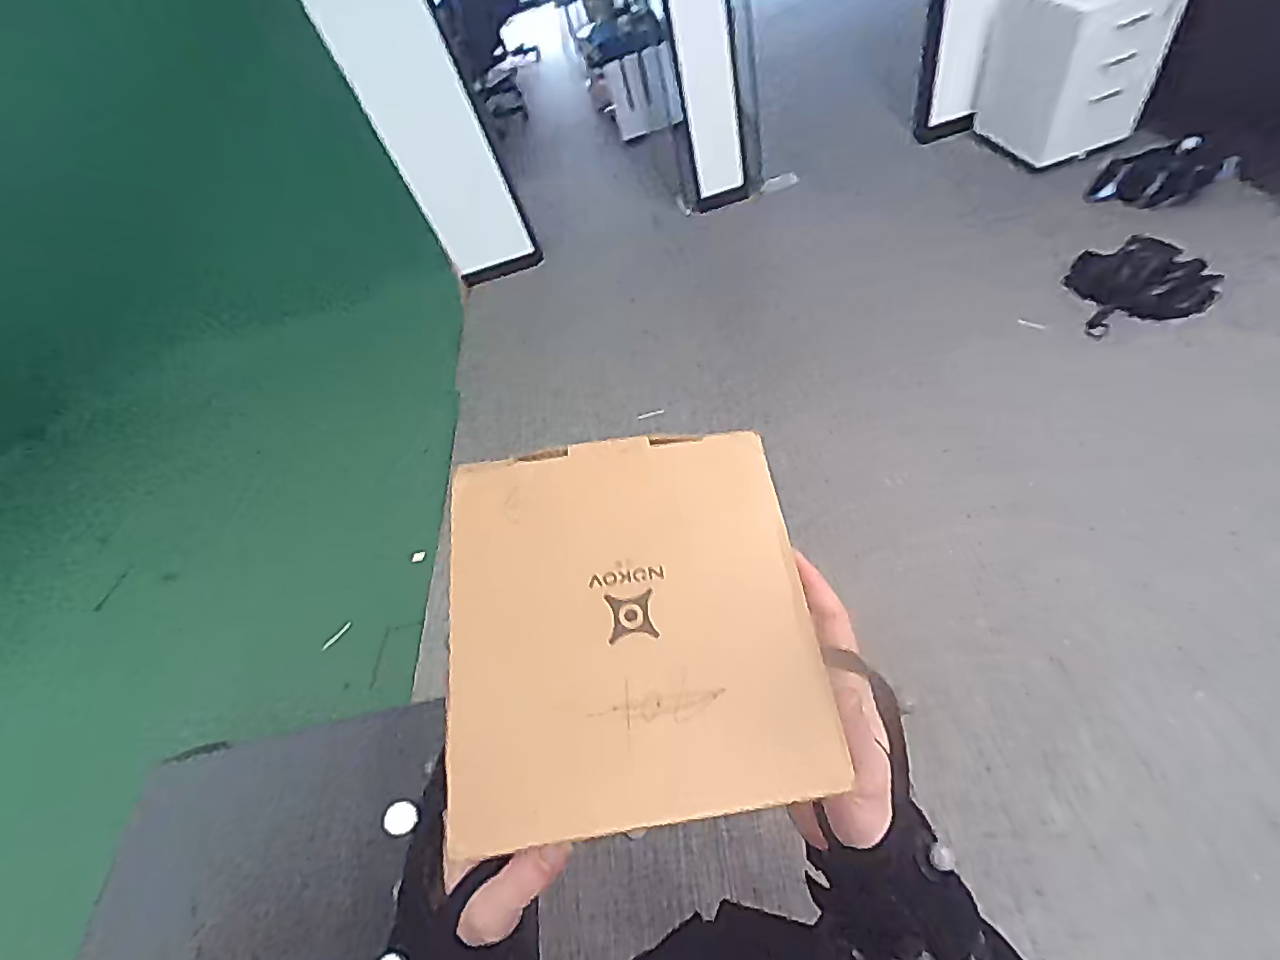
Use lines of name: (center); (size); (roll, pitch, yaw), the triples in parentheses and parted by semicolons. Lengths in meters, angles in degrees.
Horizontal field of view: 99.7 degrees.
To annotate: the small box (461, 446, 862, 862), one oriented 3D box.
small box: (-0.001, 0.101, 0.324); (0.168, 0.176, 0.179); (-6, 64, -5)
